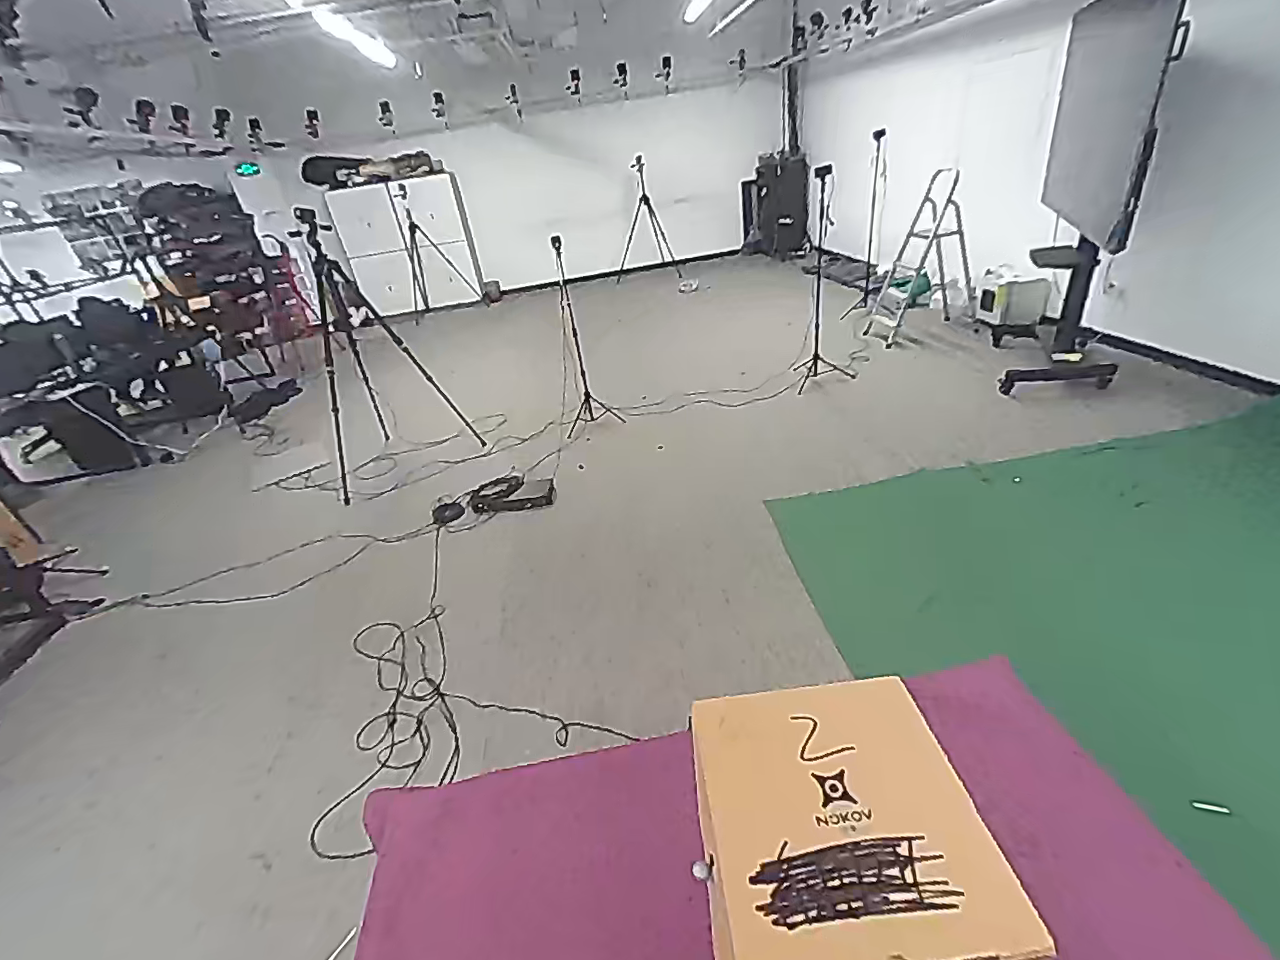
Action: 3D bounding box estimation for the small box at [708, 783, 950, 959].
[{"bbox_3d":[0.151,0.404,0.479,0.168,0.176,0.179,-5,32,1],"label":"small box"}]
